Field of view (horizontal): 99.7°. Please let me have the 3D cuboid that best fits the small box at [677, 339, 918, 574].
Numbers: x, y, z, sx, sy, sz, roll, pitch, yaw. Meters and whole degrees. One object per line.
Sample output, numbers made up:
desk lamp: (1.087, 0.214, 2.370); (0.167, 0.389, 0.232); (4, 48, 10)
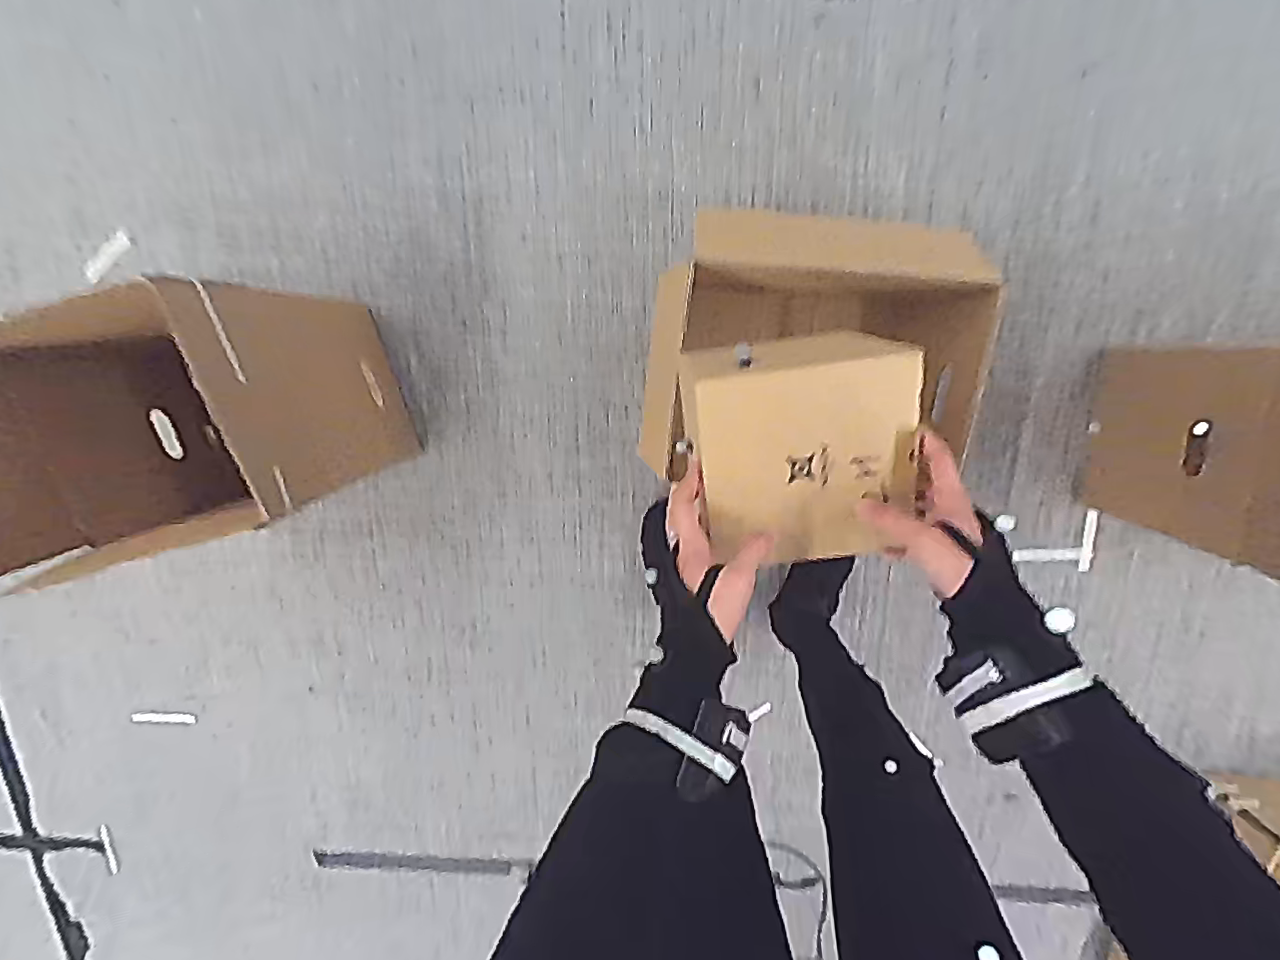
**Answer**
small box: (0.129, -0.033, 0.503); (0.179, 0.176, 0.168); (-8, 110, 2)
